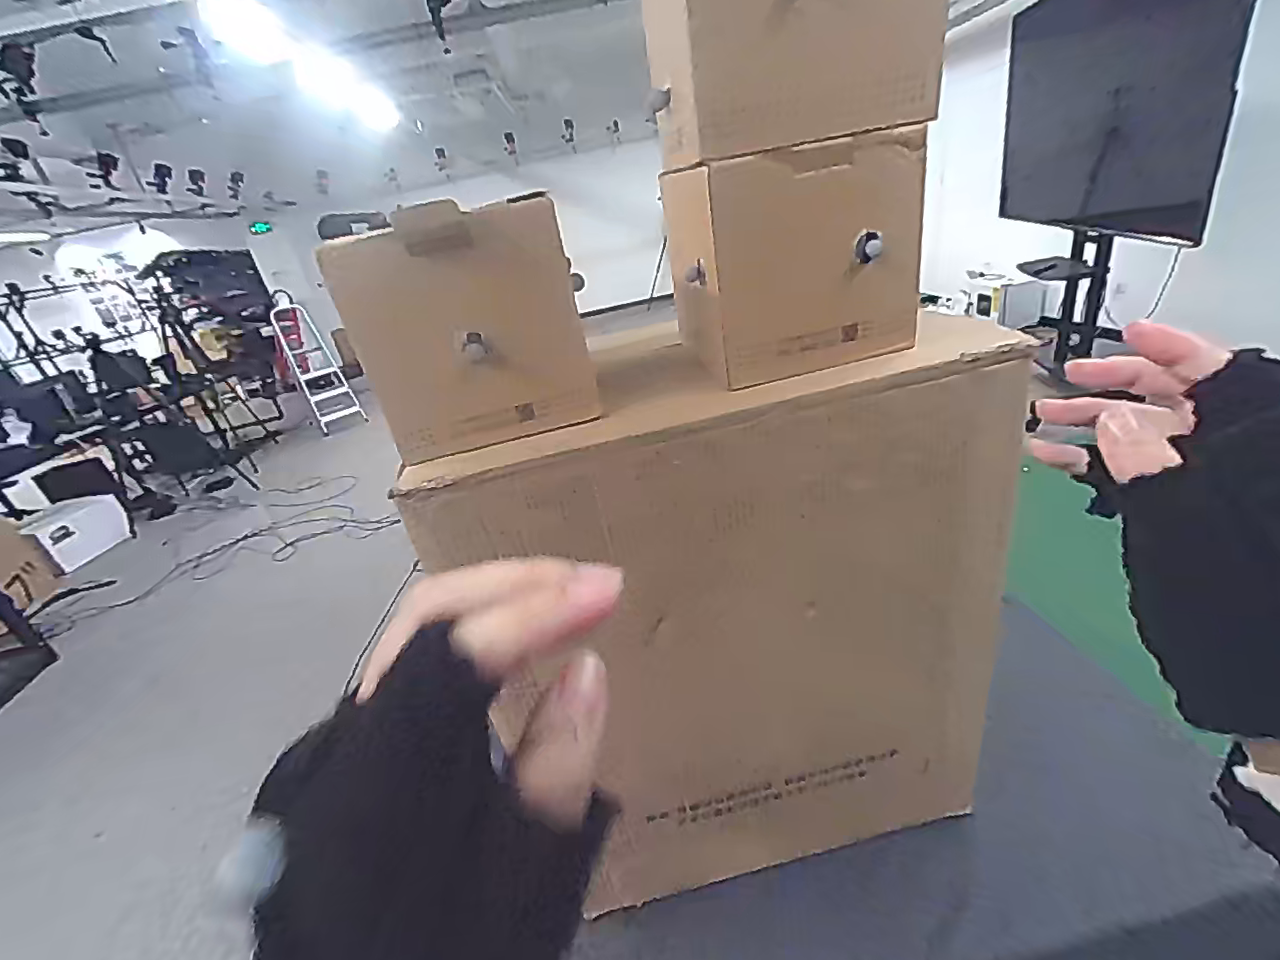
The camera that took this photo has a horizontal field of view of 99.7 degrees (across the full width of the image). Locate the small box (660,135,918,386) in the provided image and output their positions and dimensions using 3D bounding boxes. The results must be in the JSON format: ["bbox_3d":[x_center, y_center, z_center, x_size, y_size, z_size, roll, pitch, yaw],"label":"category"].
[{"bbox_3d":[0.124,-0.194,0.494,0.168,0.176,0.179,-12,27,-4],"label":"small box"}]

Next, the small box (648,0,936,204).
[{"bbox_3d":[0.107,-0.324,0.426,0.179,0.176,0.168,-11,27,0],"label":"small box"}]

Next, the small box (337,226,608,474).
[{"bbox_3d":[-0.135,-0.119,0.493,0.168,0.176,0.179,-16,28,-6],"label":"small box"}]
